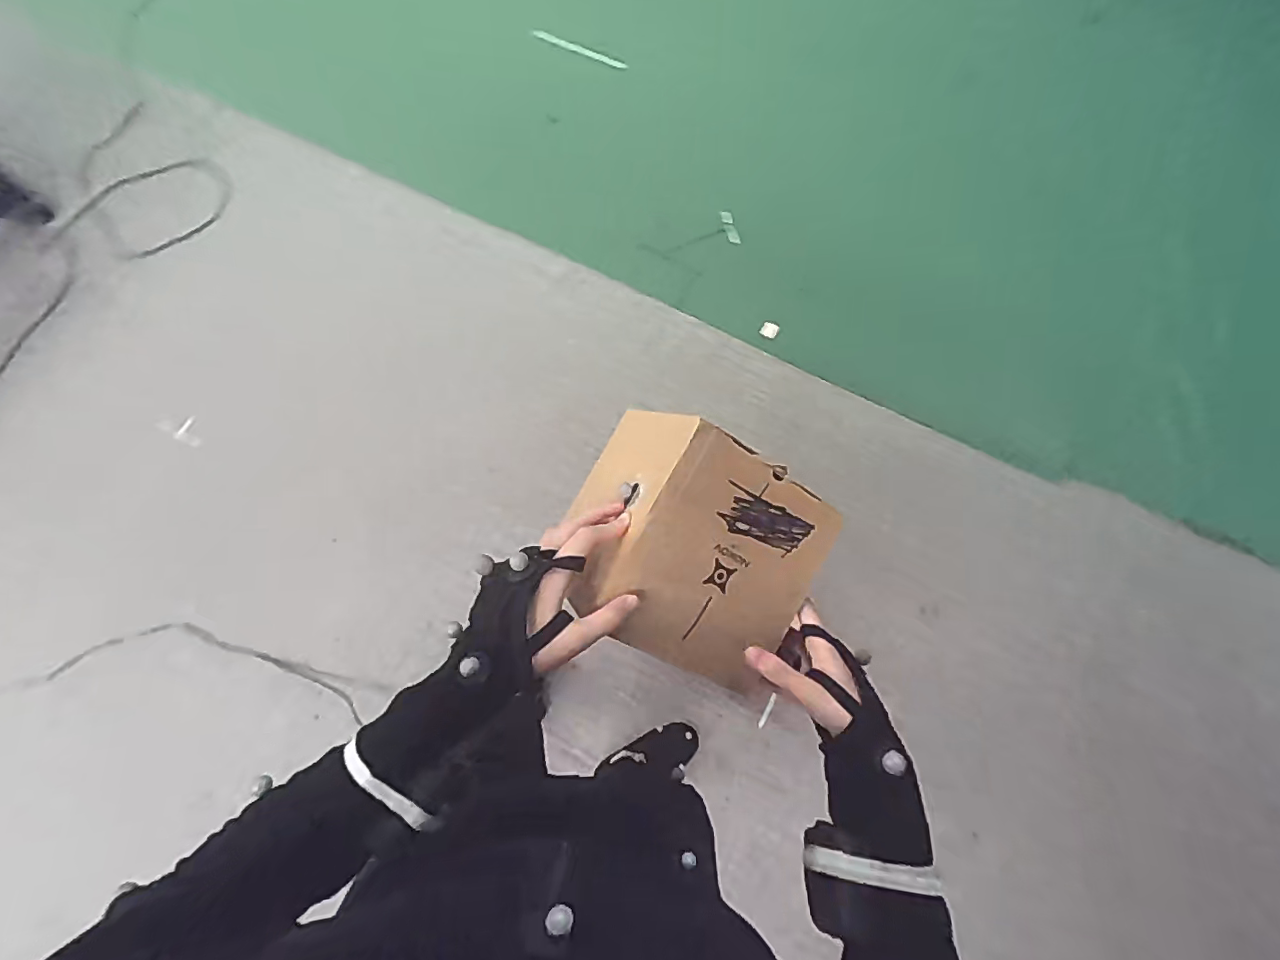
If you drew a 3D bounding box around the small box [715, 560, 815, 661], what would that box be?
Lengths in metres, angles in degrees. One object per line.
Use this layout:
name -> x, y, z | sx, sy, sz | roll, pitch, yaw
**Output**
small box -> 0.290, 0.315, 1.298 | 0.168, 0.176, 0.179 | 26, 75, 7
